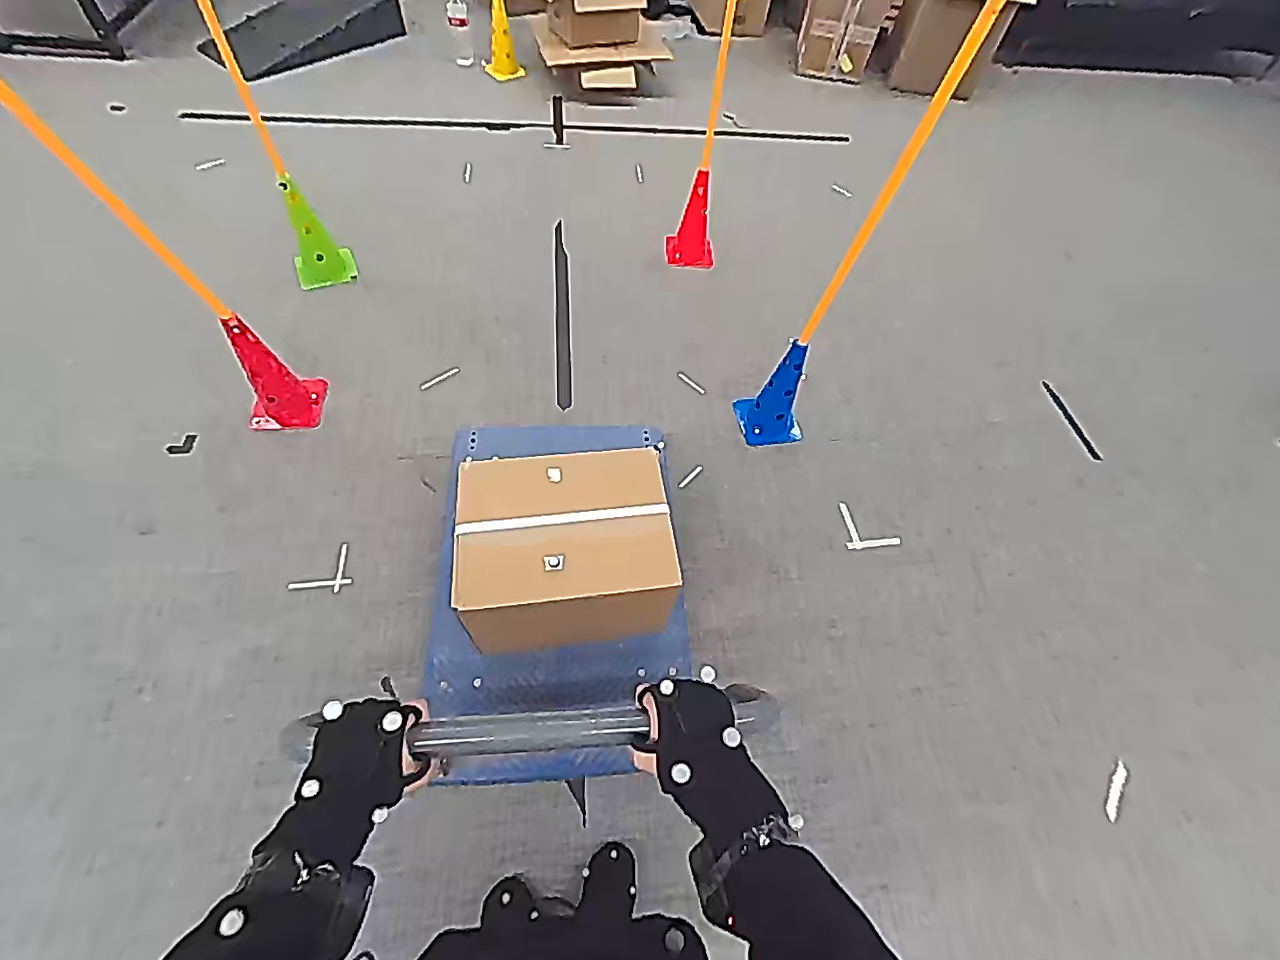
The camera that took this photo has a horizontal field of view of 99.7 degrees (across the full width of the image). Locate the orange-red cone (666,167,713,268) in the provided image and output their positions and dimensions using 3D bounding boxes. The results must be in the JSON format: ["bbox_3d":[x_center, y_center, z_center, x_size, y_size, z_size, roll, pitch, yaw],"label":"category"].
[{"bbox_3d":[0.228,-1.062,2.156,0.199,0.360,0.198,4,58,-5],"label":"orange-red cone"}]

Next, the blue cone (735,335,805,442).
[{"bbox_3d":[0.447,-0.298,1.712,0.193,0.380,0.192,-6,57,-10],"label":"blue cone"}]
